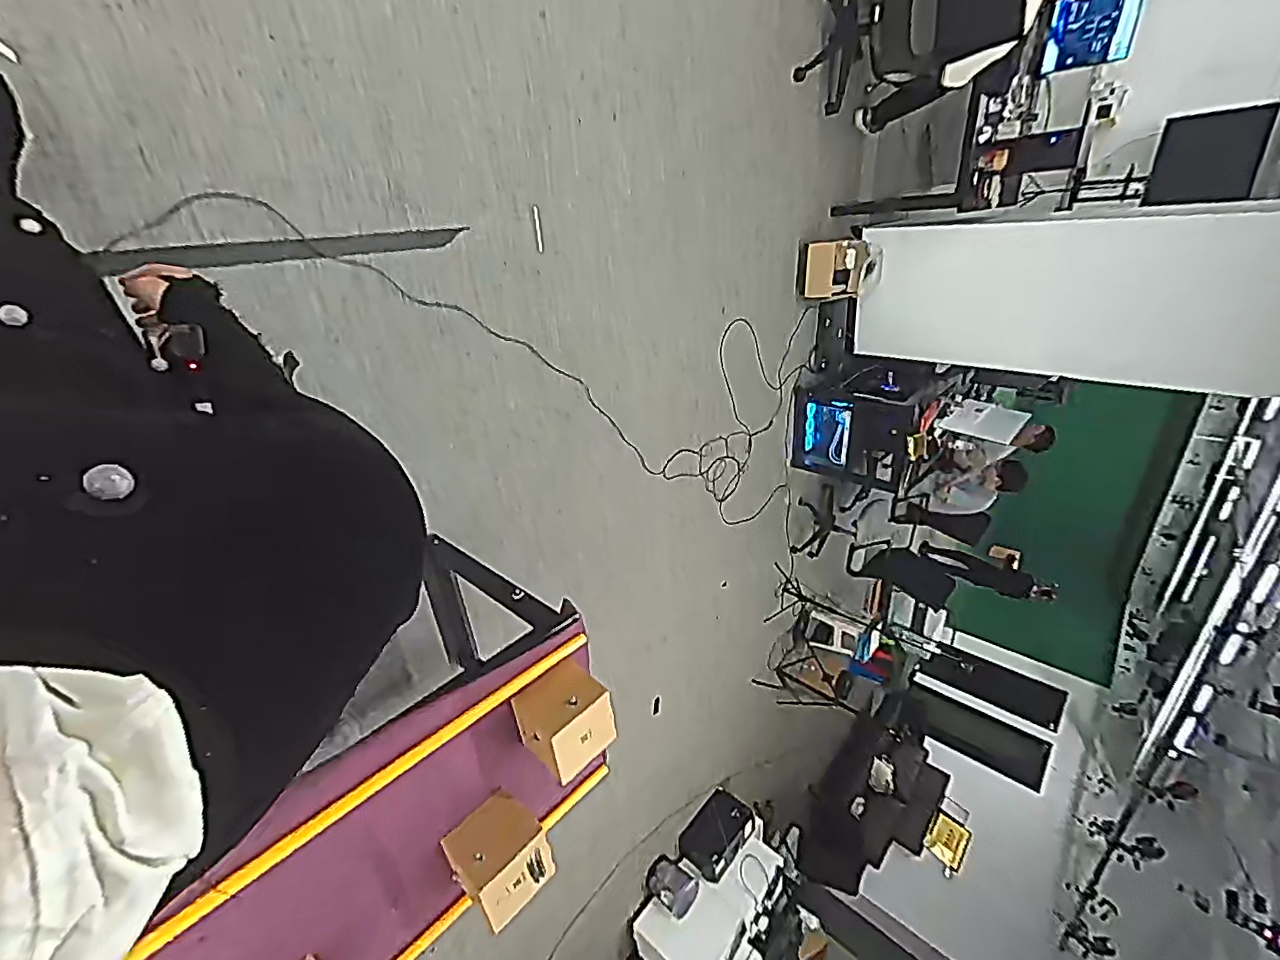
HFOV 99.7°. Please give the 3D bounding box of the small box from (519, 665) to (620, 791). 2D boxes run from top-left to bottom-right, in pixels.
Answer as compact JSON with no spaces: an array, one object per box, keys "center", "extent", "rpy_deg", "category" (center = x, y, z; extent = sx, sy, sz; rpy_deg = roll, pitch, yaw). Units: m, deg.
[{"center":[-0.174,0.586,1.299],"extent":[0.179,0.176,0.168],"rpy_deg":[-29,125,-37],"category":"small box"}]
